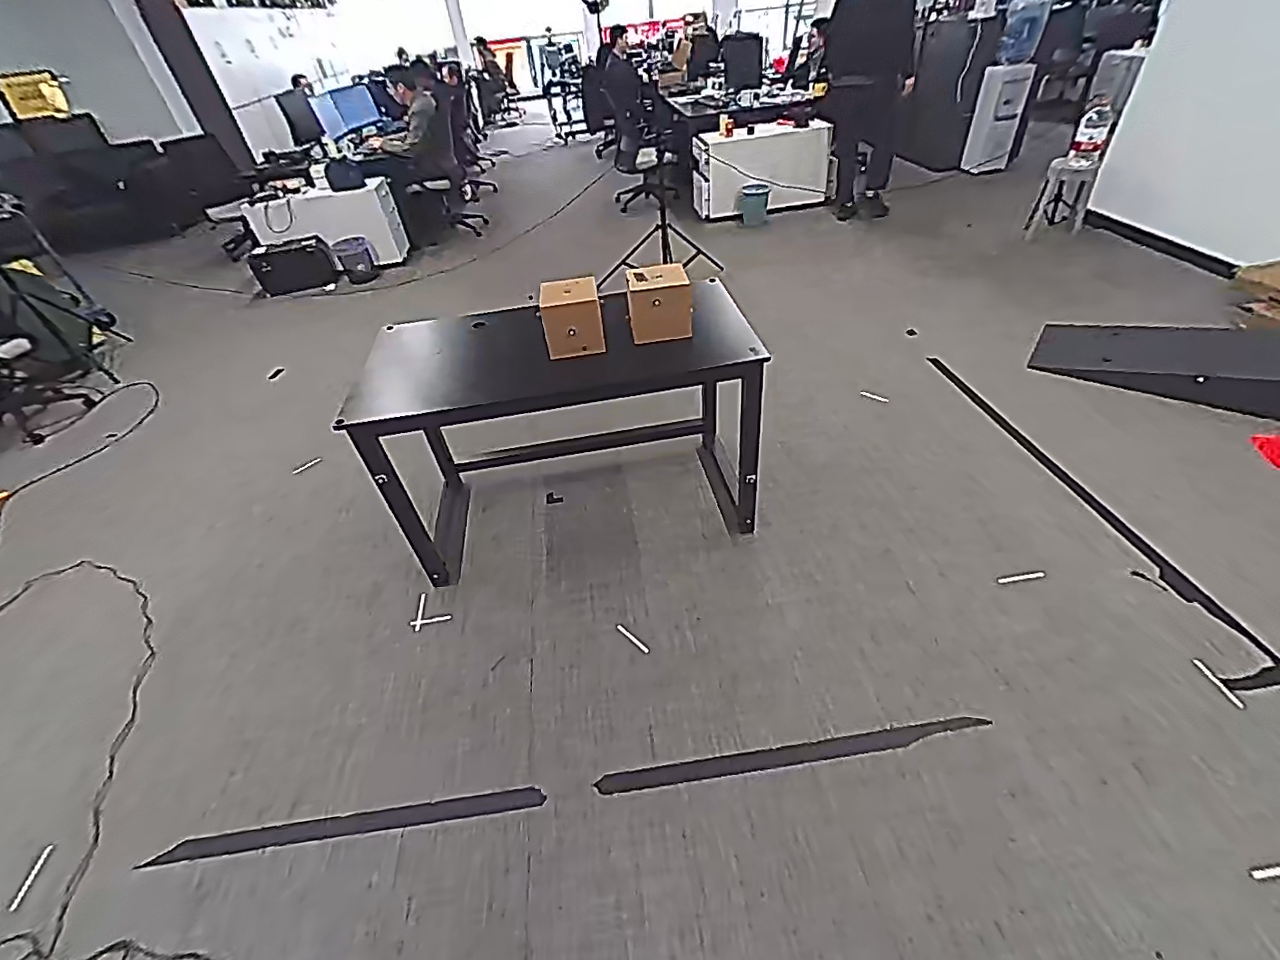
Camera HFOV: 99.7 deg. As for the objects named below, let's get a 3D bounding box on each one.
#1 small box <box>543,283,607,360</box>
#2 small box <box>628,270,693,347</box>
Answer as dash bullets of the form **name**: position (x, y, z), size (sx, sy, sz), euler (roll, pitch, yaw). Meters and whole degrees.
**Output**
- **small box**: position (-0.193, -0.474, 1.639), size (0.168, 0.176, 0.179), euler (-8, 41, -1)
- **small box**: position (0.063, -0.521, 1.654), size (0.179, 0.176, 0.168), euler (-8, 41, -1)
